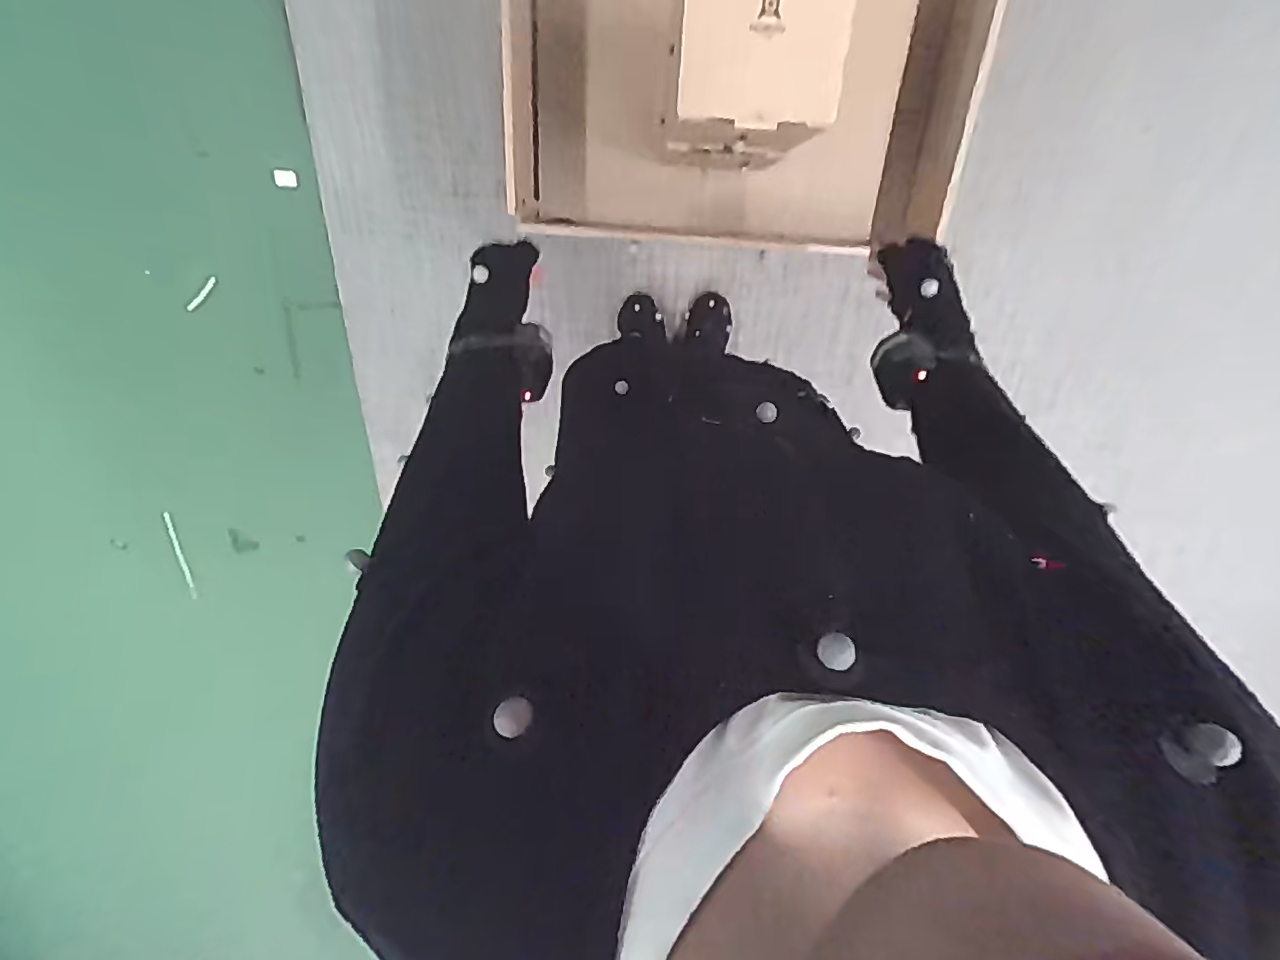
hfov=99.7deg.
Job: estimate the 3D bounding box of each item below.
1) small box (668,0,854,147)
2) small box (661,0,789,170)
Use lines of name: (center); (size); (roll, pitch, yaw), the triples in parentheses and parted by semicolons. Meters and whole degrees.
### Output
small box: (0.121, -0.480, 0.594); (0.168, 0.176, 0.179); (3, 115, -2)
small box: (0.118, -0.539, 0.747); (0.168, 0.176, 0.179); (2, 113, -2)
